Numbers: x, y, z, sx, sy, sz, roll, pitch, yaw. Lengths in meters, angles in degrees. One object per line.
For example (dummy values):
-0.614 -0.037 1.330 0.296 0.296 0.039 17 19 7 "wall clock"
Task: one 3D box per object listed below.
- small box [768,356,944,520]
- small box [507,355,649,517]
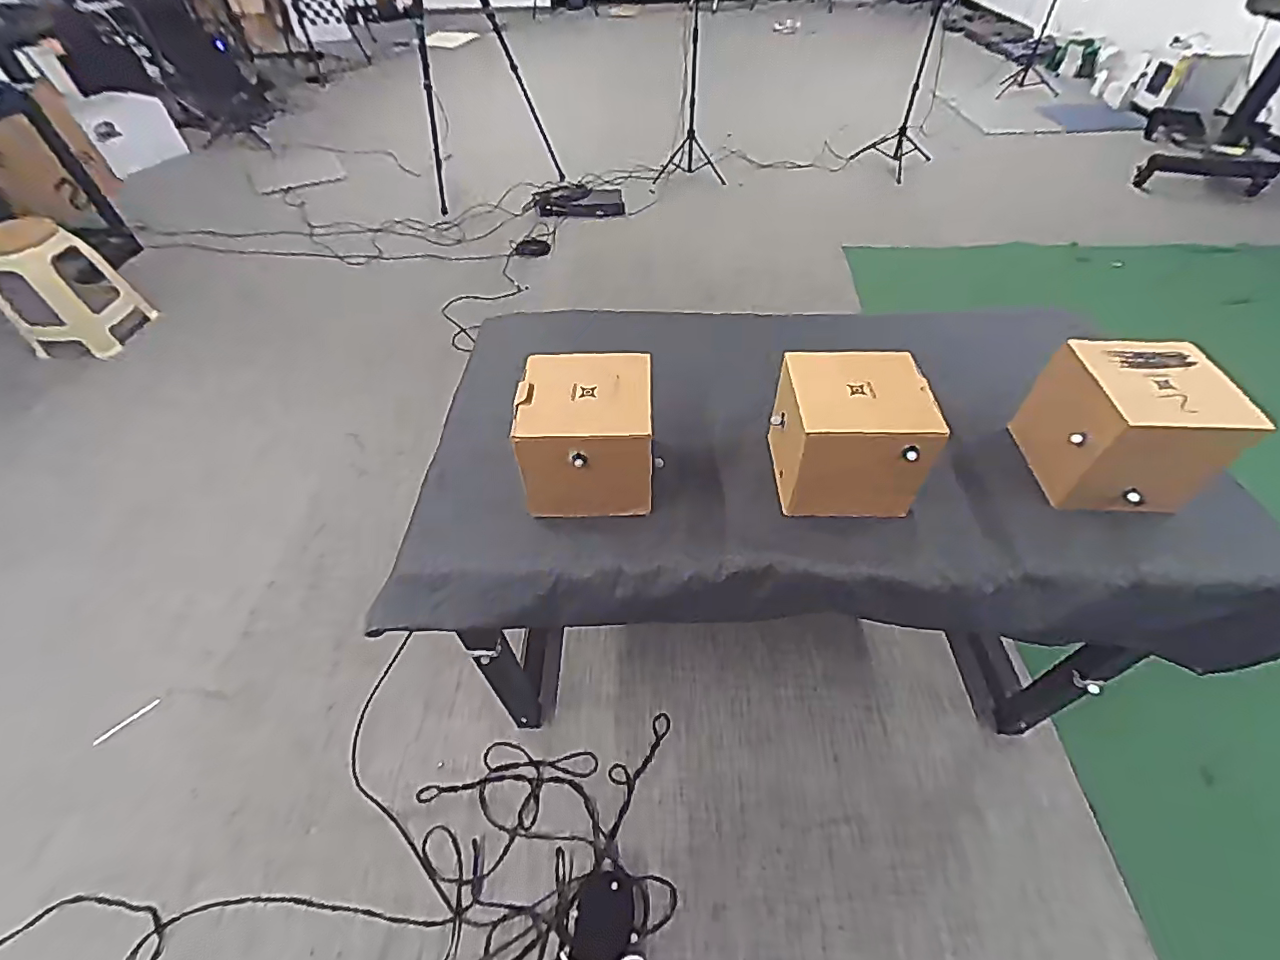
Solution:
0.282 -0.057 0.759 0.179 0.176 0.168 1 48 1 "small box"
-0.076 -0.059 0.767 0.179 0.176 0.168 0 49 0 "small box"
